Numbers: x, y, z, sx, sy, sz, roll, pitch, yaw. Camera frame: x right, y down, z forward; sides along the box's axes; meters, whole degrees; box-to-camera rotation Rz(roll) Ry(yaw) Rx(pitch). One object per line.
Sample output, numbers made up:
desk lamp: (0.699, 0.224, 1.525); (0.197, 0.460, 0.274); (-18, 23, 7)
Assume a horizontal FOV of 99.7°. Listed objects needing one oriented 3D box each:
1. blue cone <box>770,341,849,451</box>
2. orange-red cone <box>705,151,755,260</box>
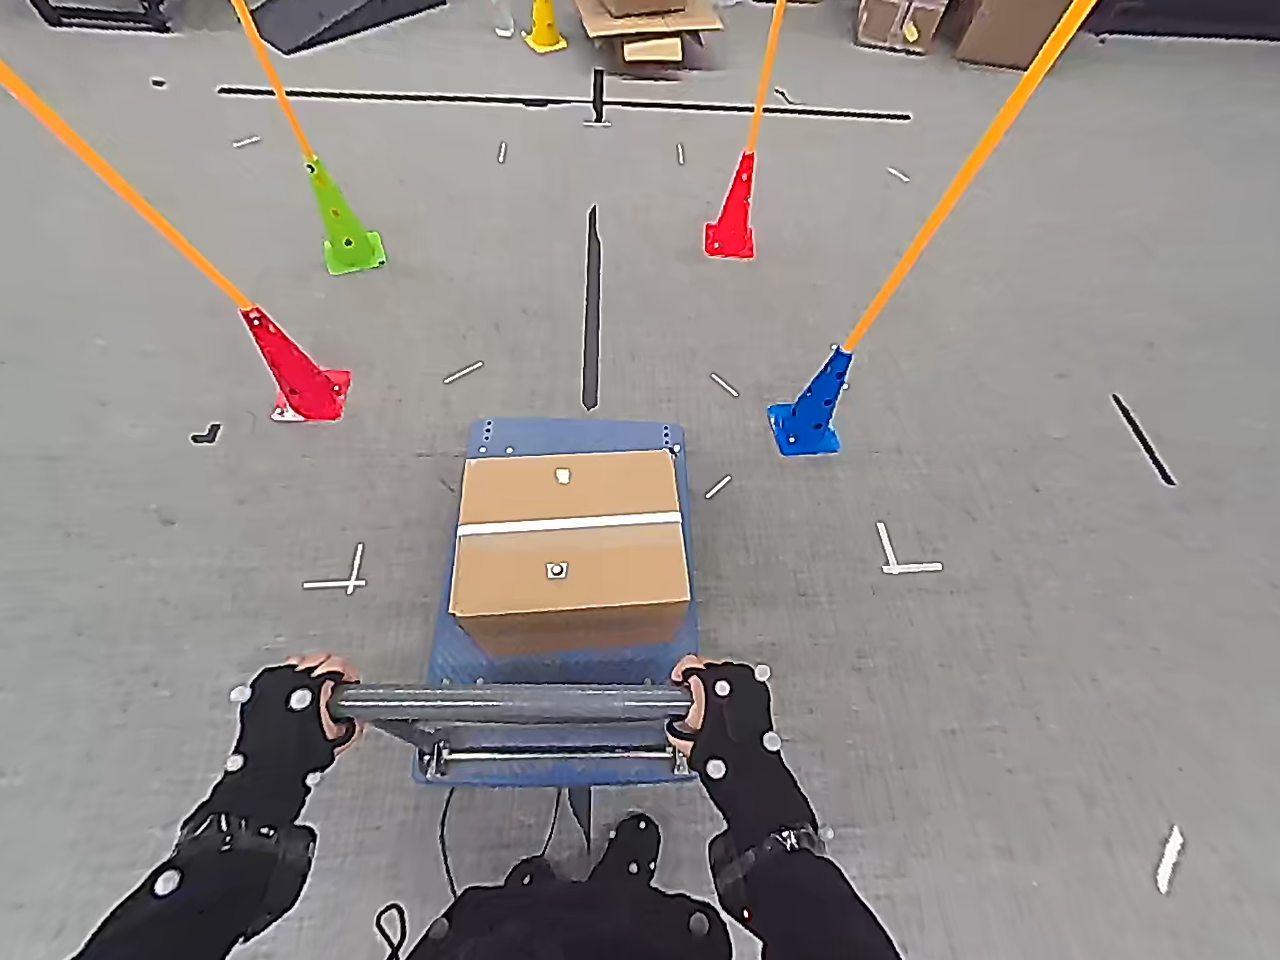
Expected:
blue cone: (0.536, -0.256, 1.602); (0.193, 0.380, 0.192); (-4, 59, -6)
orange-red cone: (0.374, -1.045, 2.028); (0.199, 0.360, 0.198); (6, 61, -2)
